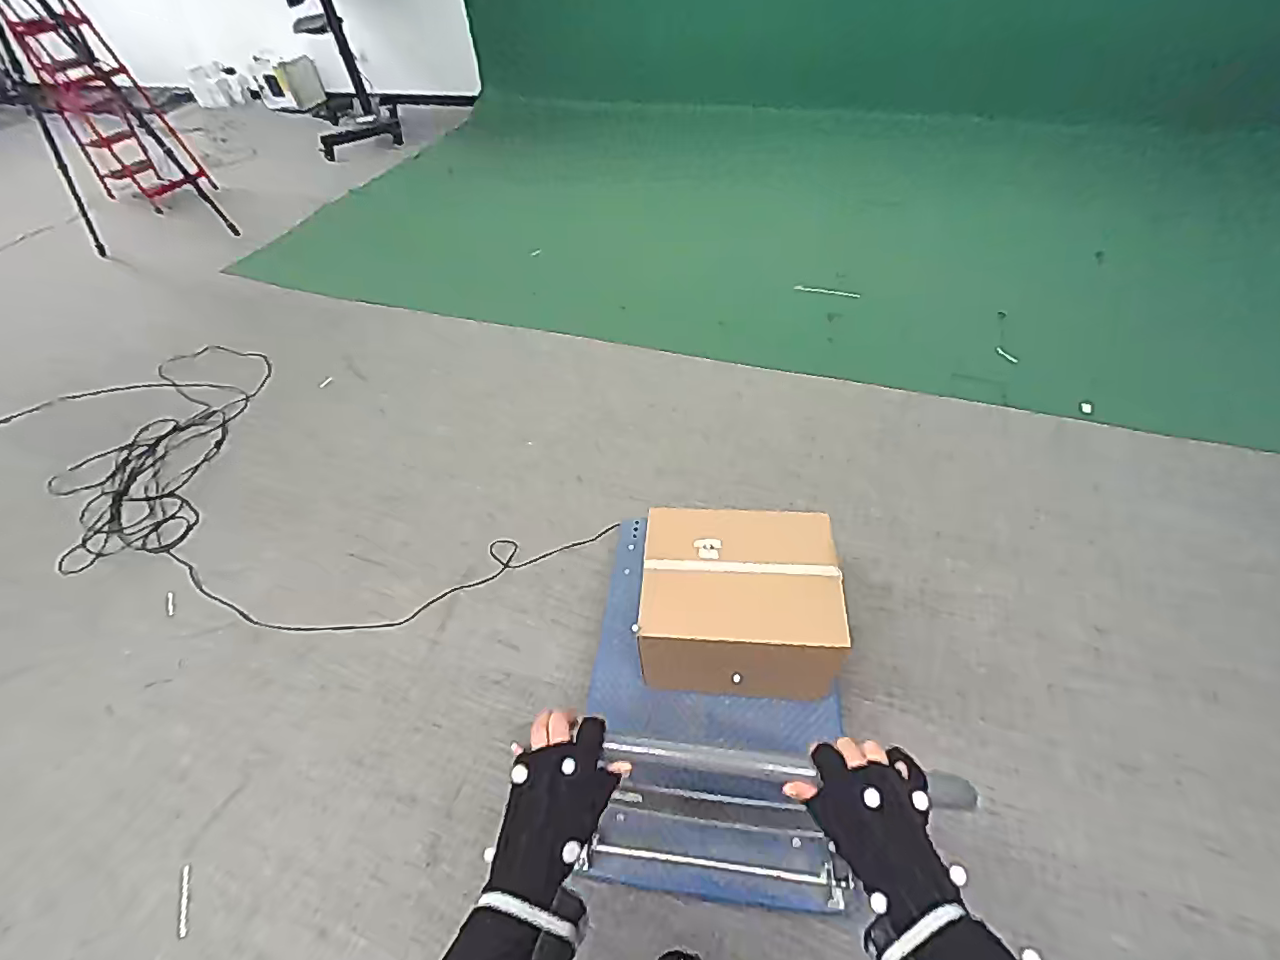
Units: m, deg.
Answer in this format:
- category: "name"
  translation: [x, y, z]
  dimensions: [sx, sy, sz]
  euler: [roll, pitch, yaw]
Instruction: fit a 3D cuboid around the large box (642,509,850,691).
- category: "large box"
  translation: [0.223, 0.280, 1.248]
  dimensions: [0.408, 0.320, 0.320]
  euler: [0, 49, 6]
